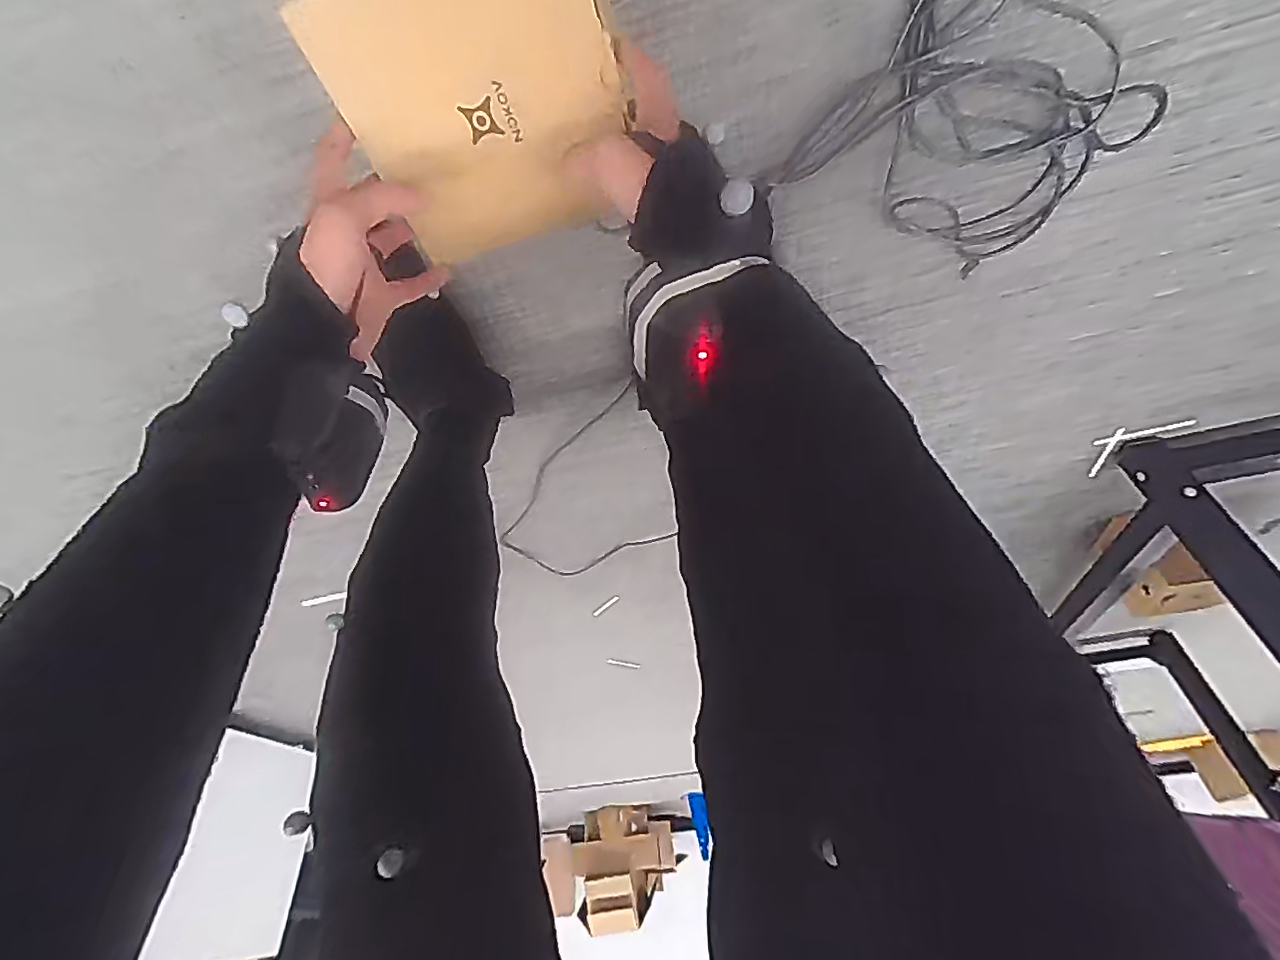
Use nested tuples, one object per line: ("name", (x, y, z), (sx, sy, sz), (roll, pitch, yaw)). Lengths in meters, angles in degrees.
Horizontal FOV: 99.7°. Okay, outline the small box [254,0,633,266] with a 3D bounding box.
("small box", (-0.112, -0.290, 0.387), (0.179, 0.176, 0.168), (-13, 141, 9))
